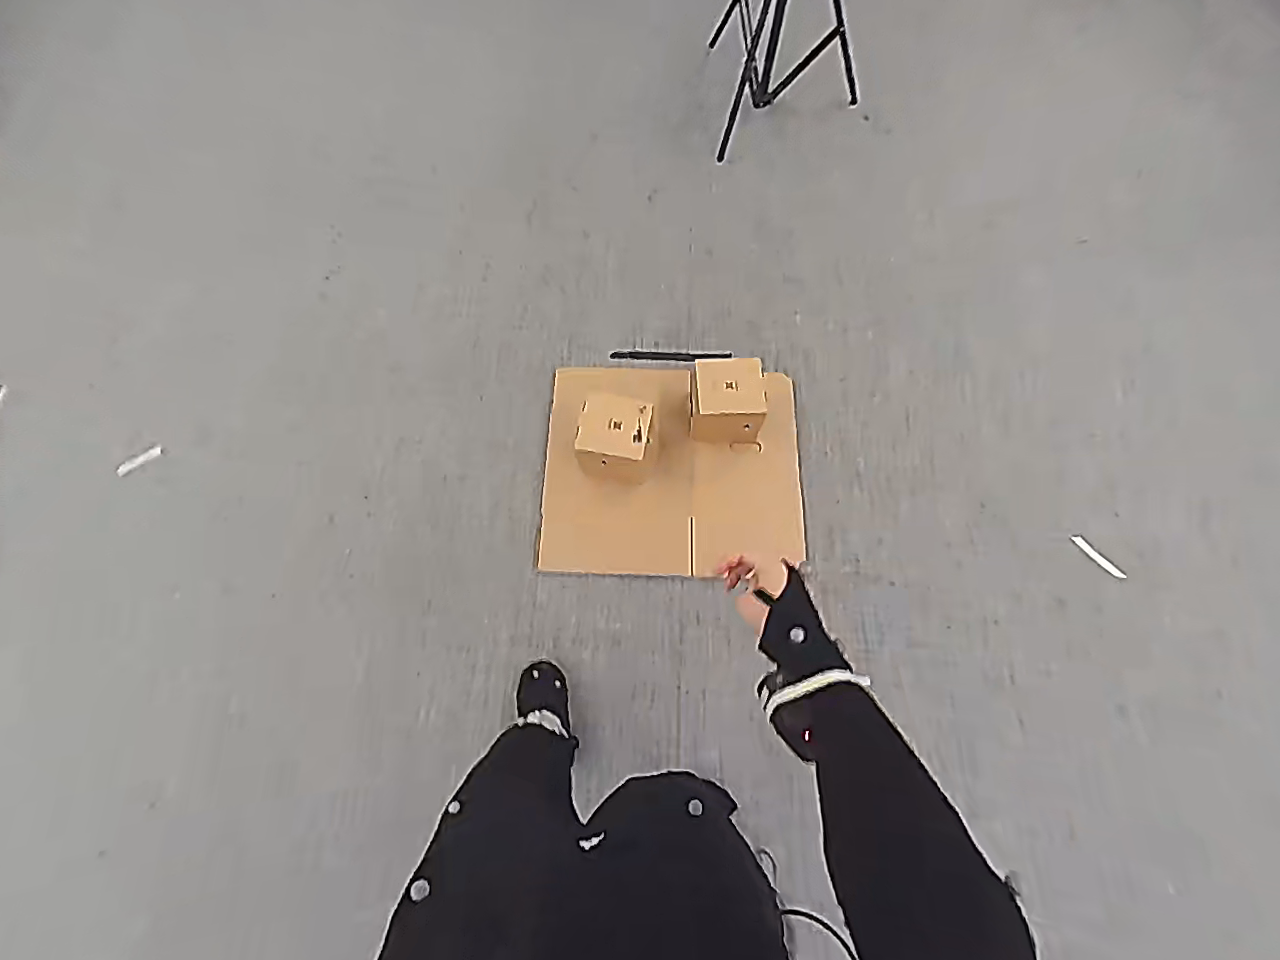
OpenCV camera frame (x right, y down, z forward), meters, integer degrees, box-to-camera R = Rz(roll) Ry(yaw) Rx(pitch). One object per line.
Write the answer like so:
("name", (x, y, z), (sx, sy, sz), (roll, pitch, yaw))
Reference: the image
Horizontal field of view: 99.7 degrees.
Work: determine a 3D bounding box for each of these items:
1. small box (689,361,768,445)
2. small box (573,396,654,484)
("small box", (0.233, -0.205, 1.466), (0.179, 0.176, 0.168), (-3, 69, -1))
("small box", (-0.062, -0.100, 1.427), (0.179, 0.176, 0.168), (9, 71, 6))
